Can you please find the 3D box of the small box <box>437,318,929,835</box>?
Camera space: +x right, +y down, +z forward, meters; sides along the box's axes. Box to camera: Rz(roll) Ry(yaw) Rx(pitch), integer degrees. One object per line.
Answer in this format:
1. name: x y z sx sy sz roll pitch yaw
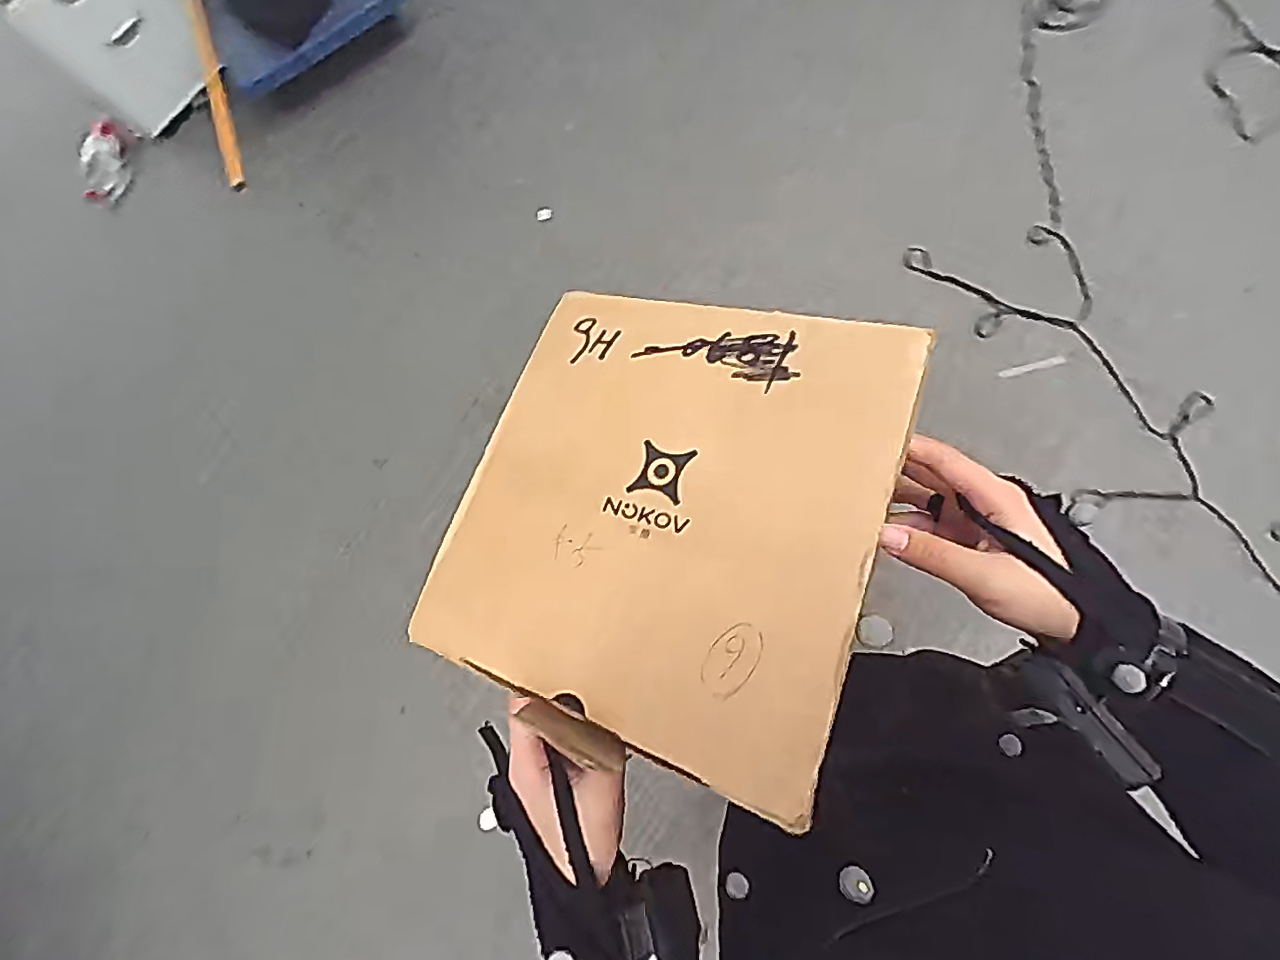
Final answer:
1. small box: 0.037 0.043 0.291 0.168 0.176 0.179 15 75 25
